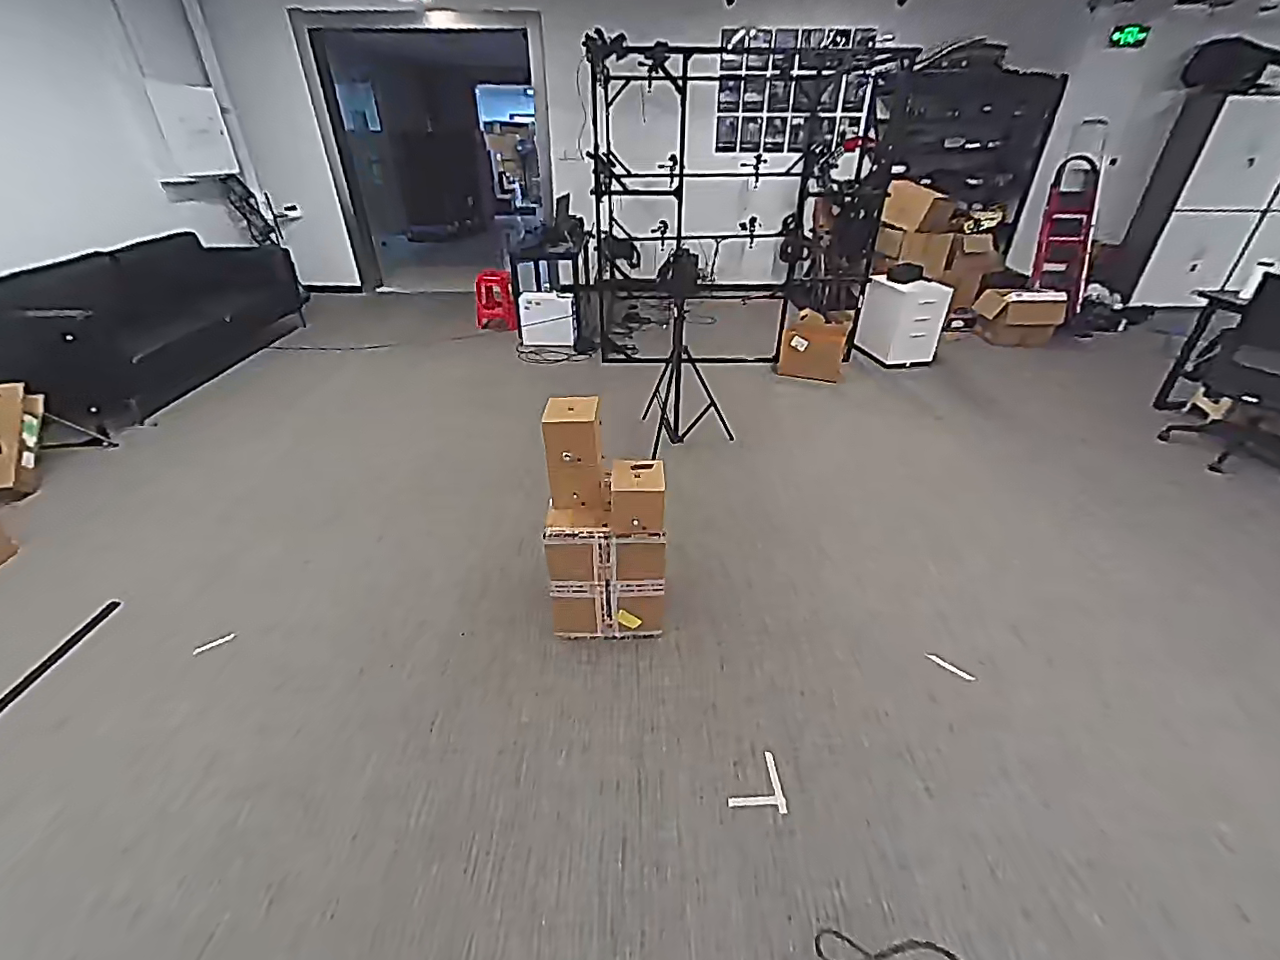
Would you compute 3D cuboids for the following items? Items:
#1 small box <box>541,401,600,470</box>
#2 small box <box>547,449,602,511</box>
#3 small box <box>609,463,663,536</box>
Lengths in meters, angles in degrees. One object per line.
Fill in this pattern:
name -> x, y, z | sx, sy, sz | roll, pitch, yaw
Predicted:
small box -> -0.221, -0.147, 1.766 | 0.168, 0.176, 0.179 | -2, 34, 1
small box -> -0.220, -0.012, 1.857 | 0.168, 0.176, 0.179 | -1, 34, 1
small box -> -0.015, 0.060, 1.748 | 0.168, 0.176, 0.179 | 0, 35, -1
